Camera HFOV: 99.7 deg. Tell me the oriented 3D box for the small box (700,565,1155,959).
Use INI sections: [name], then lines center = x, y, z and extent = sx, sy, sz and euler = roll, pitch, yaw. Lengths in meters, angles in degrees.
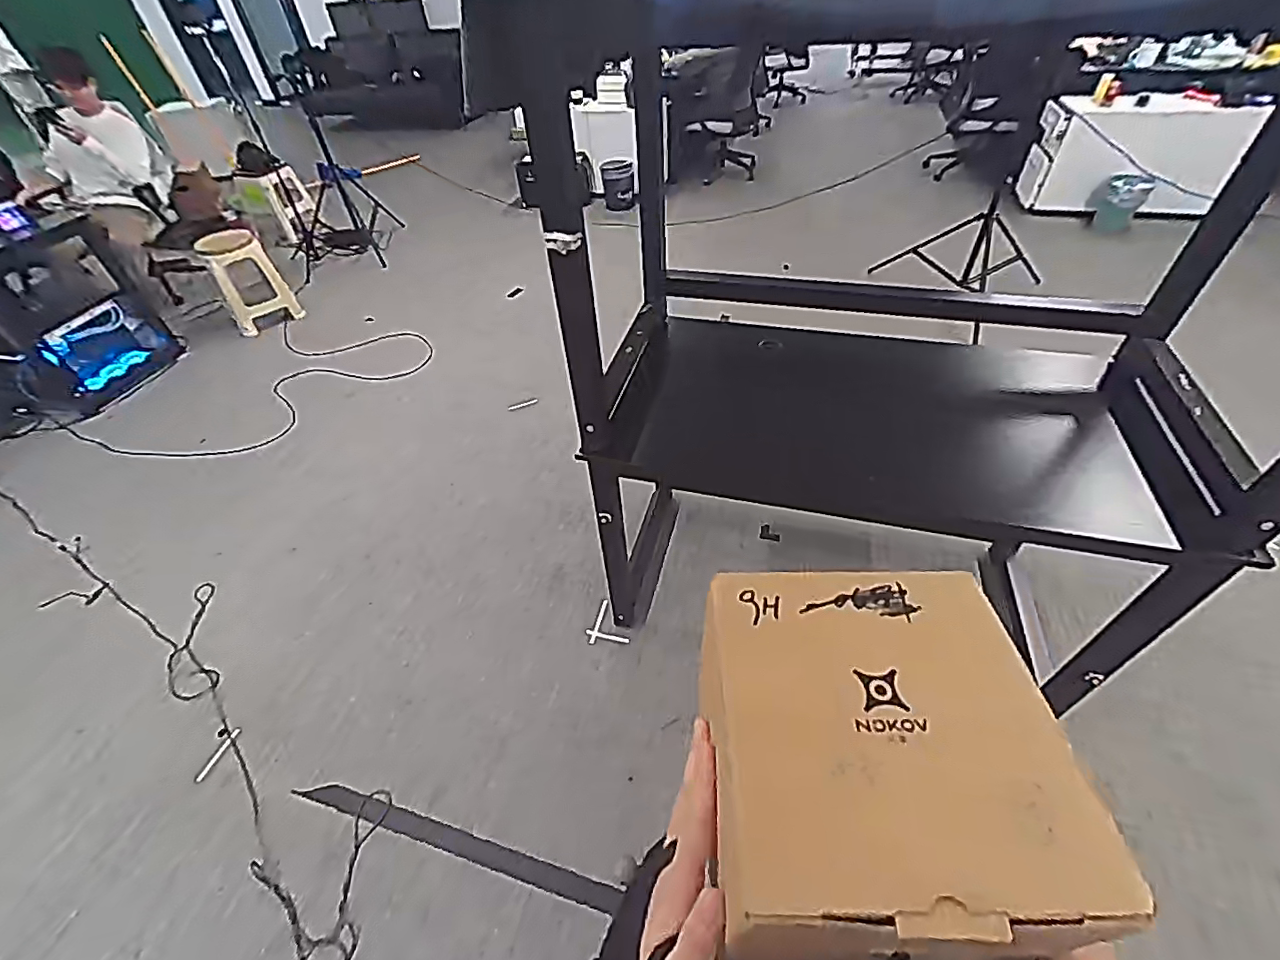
[small box]
center = 0.126, 0.171, 0.328
extent = 0.168, 0.176, 0.179
euler = 0, 43, 1
